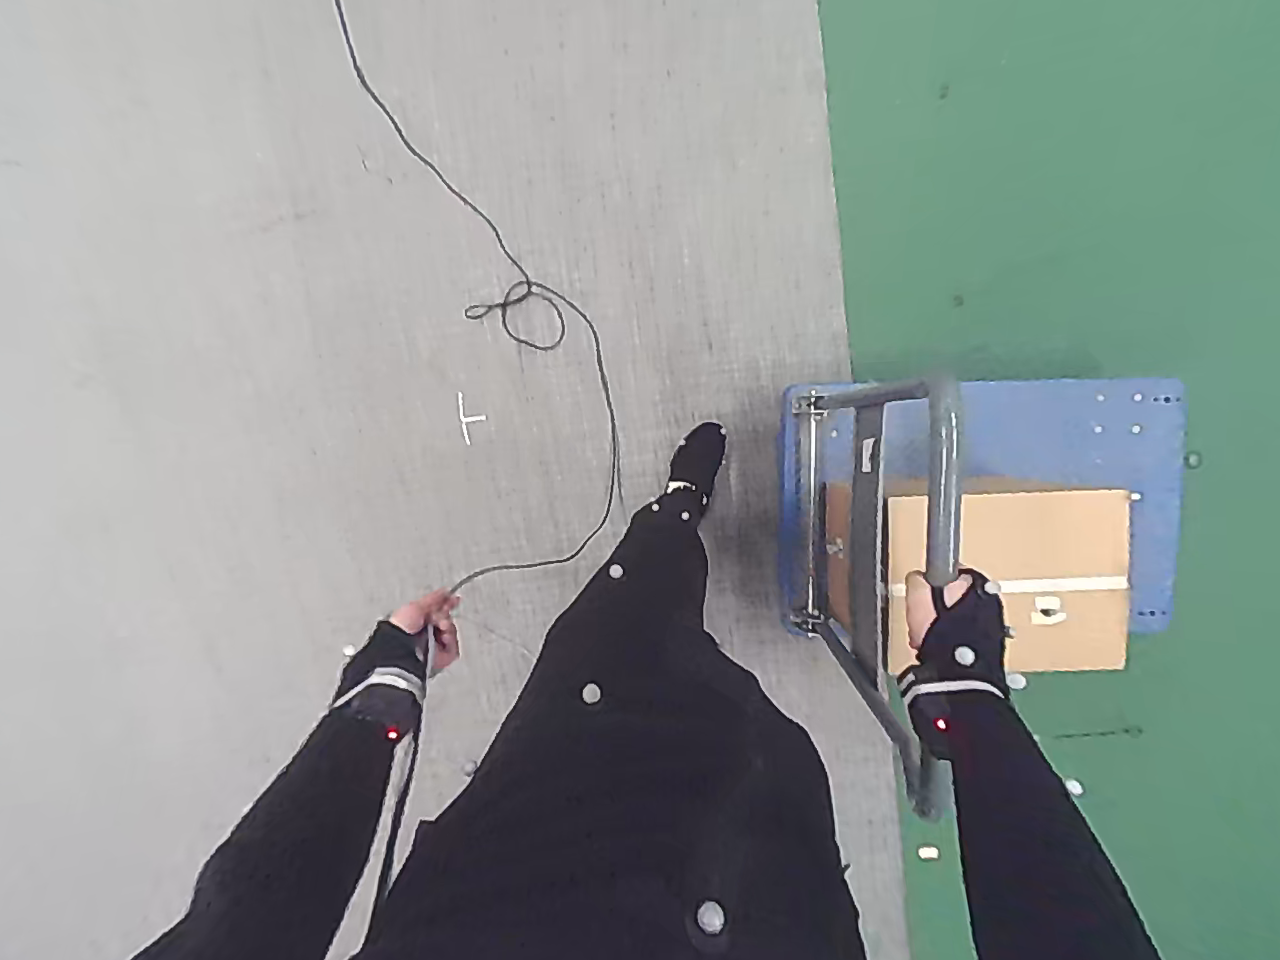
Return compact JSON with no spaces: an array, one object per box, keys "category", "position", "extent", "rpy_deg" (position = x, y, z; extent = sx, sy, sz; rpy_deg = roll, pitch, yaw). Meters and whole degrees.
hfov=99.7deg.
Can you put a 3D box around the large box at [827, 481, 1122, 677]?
[{"category":"large box","position":[0.623,0.171,1.076],"extent":[0.408,0.320,0.320],"rpy_deg":[-2,95,0]}]
